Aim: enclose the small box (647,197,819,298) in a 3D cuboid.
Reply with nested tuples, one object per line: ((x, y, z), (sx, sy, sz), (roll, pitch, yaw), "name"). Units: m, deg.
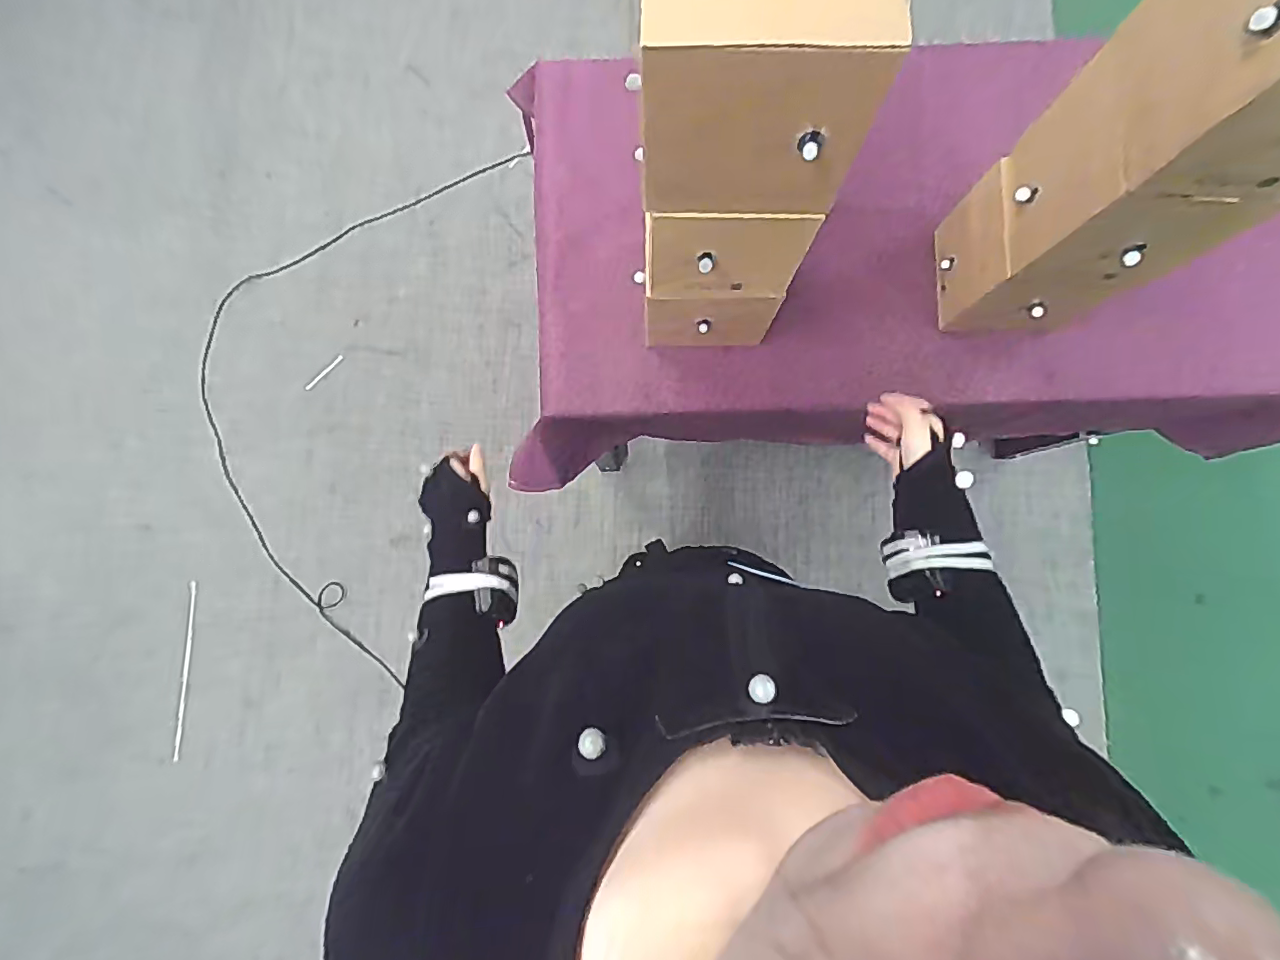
((0.093, -0.319, 0.601), (0.168, 0.176, 0.179), (1, 82, 1), "small box")

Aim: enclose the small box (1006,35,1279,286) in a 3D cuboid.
((0.537, -0.333, 0.595), (0.168, 0.176, 0.179), (5, 84, 1), "small box")

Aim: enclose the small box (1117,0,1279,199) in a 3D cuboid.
((0.532, -0.353, 0.430), (0.168, 0.176, 0.179), (3, 82, 2), "small box")

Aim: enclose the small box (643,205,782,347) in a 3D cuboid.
((0.093, -0.296, 0.762), (0.179, 0.176, 0.168), (0, 83, 1), "small box")

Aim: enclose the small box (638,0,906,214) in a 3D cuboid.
((0.089, -0.342, 0.440), (0.179, 0.176, 0.168), (2, 81, 2), "small box")
